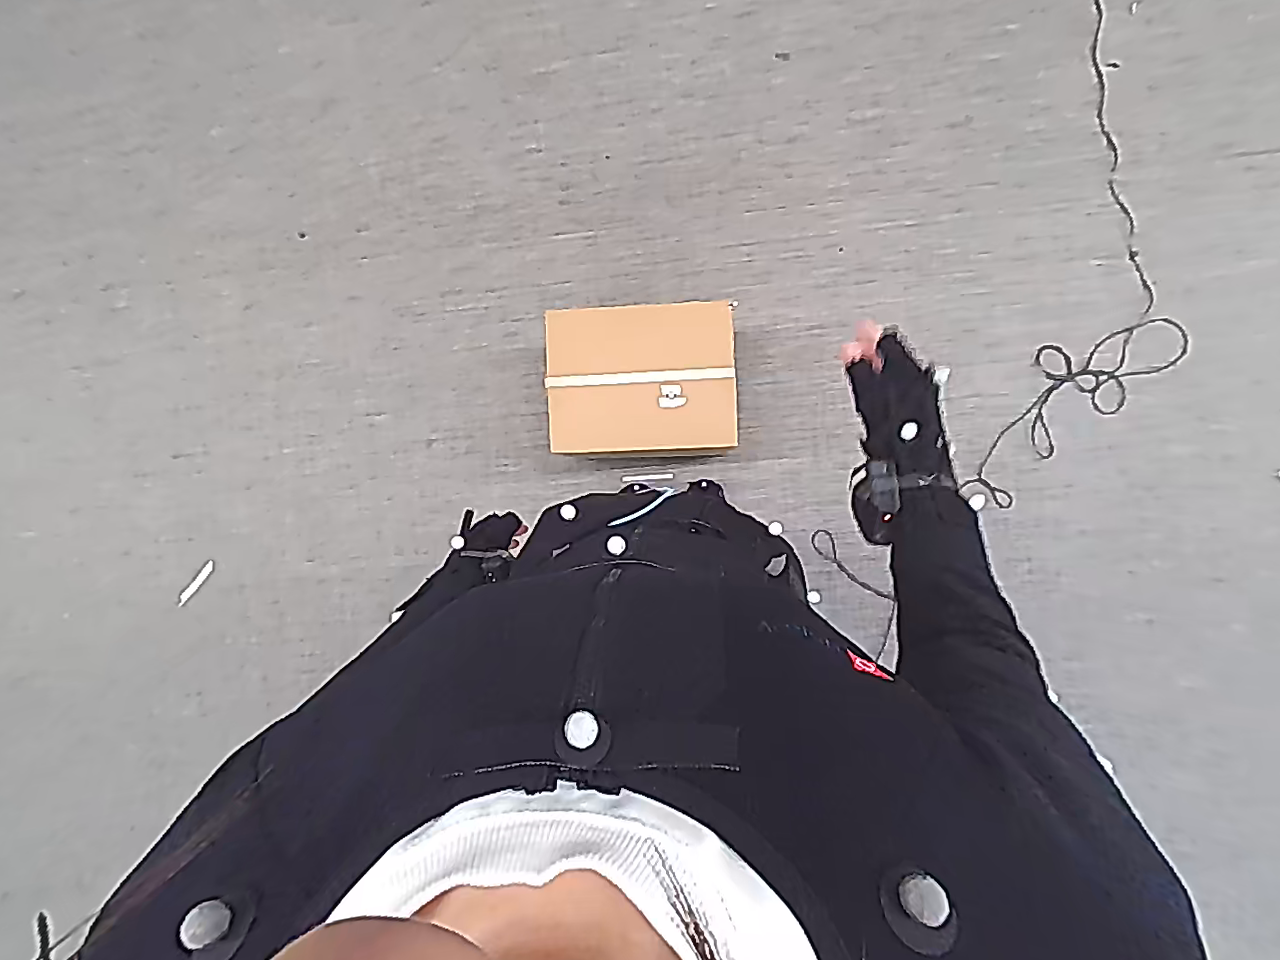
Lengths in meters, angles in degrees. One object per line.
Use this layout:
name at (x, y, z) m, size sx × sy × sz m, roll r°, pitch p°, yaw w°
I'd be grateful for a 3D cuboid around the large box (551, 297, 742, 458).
large box at (0.018, -0.225, 1.308) m, size 0.408 × 0.320 × 0.320 m, roll -2°, pitch 90°, yaw 3°
